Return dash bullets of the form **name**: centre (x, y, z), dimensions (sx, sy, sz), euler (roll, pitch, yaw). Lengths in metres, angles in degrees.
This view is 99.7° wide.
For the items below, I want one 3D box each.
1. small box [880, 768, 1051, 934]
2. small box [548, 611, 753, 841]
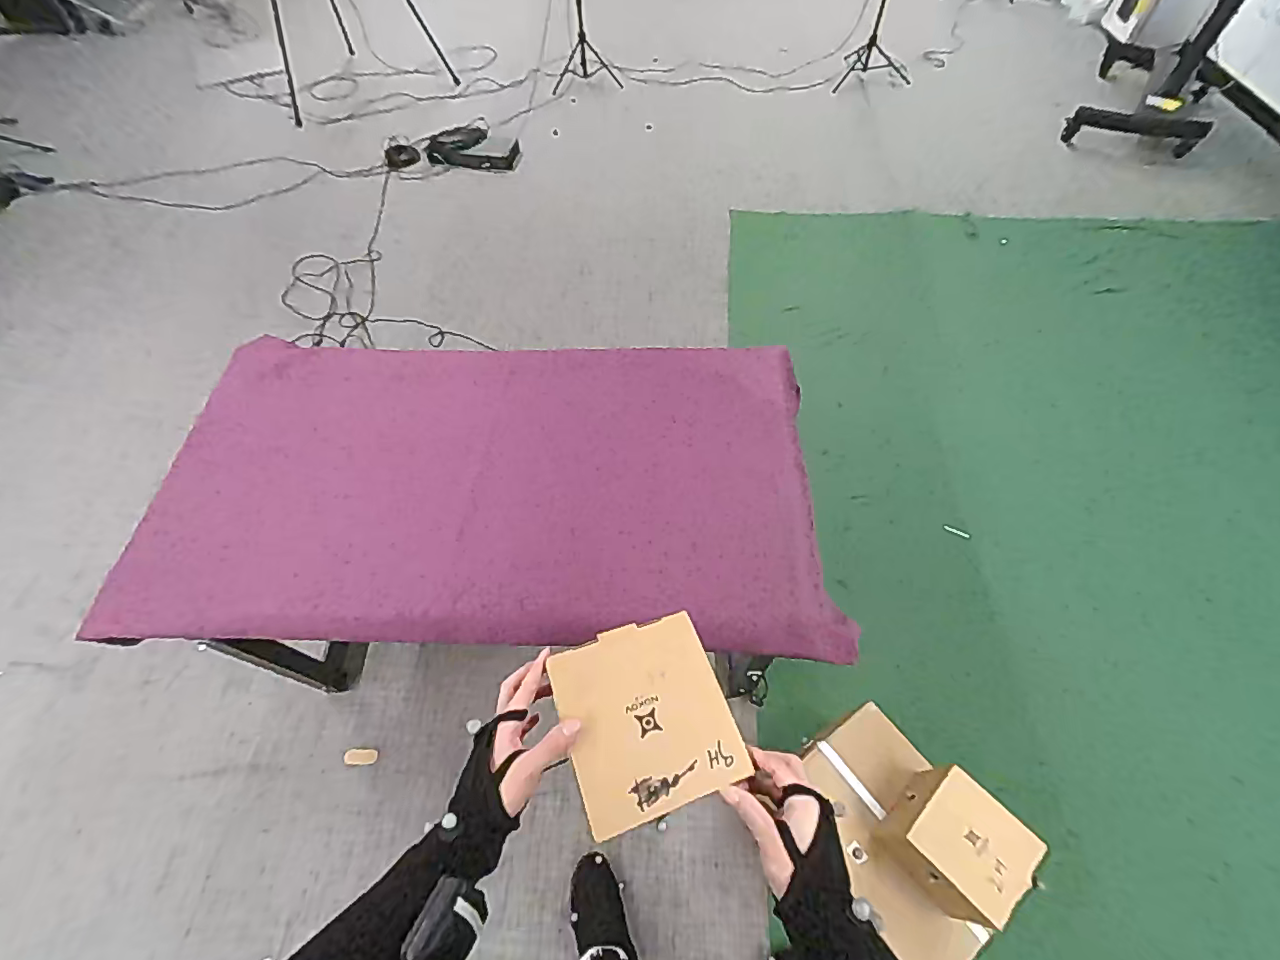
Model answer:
- **small box**: centre (0.570, 0.661, 0.975), dimensions (0.168, 0.176, 0.179), euler (-38, 64, -22)
- **small box**: centre (-0.002, 0.277, 0.605), dimensions (0.168, 0.176, 0.179), euler (-14, 58, -15)
